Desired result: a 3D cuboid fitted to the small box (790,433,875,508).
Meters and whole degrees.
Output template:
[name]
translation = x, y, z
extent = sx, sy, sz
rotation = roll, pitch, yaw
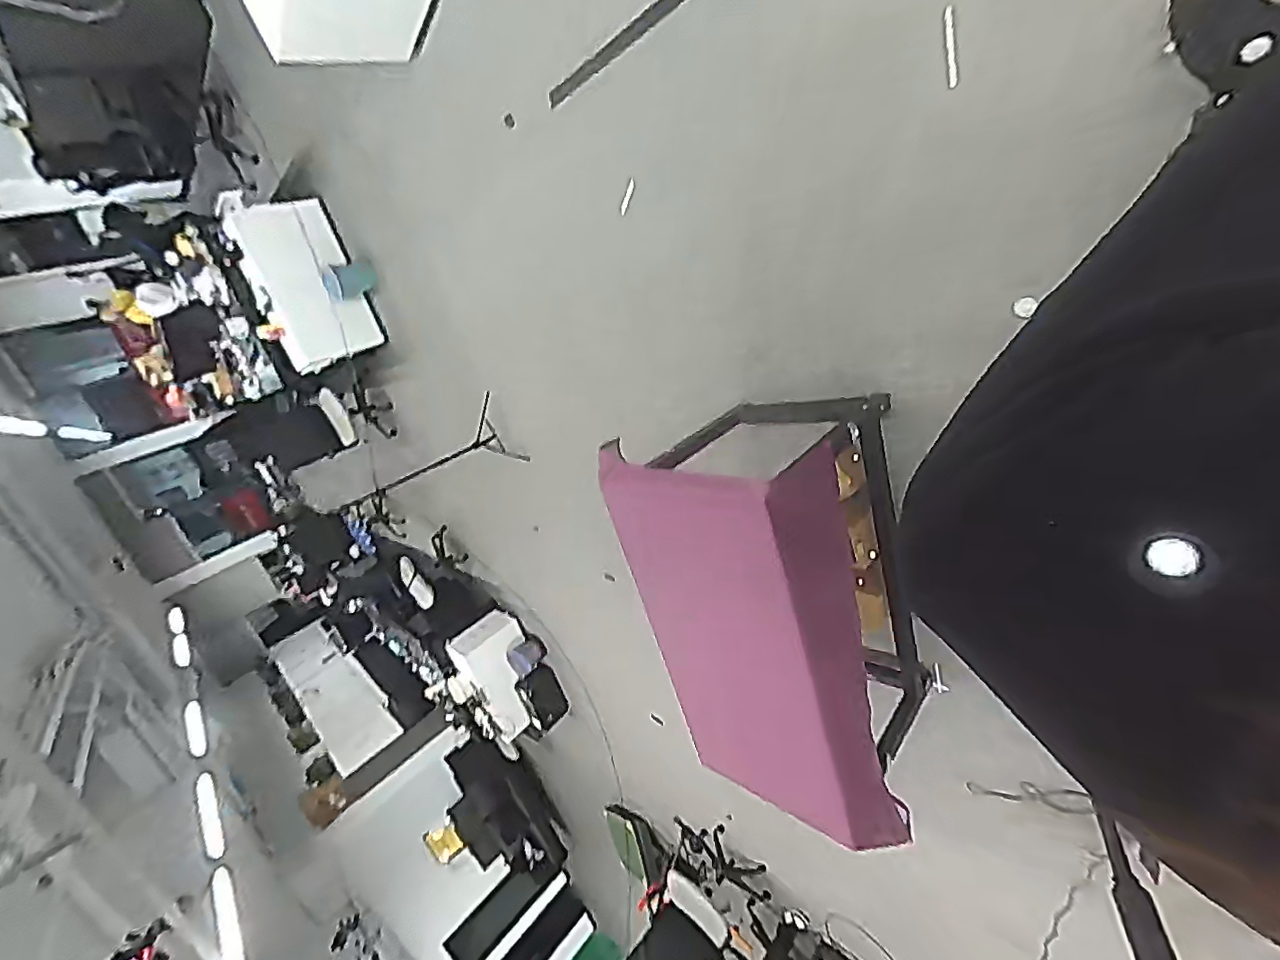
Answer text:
[small box]
translation = 0.657, -0.033, 1.840
extent = 0.168, 0.176, 0.179
rotation = 54, 145, 3
